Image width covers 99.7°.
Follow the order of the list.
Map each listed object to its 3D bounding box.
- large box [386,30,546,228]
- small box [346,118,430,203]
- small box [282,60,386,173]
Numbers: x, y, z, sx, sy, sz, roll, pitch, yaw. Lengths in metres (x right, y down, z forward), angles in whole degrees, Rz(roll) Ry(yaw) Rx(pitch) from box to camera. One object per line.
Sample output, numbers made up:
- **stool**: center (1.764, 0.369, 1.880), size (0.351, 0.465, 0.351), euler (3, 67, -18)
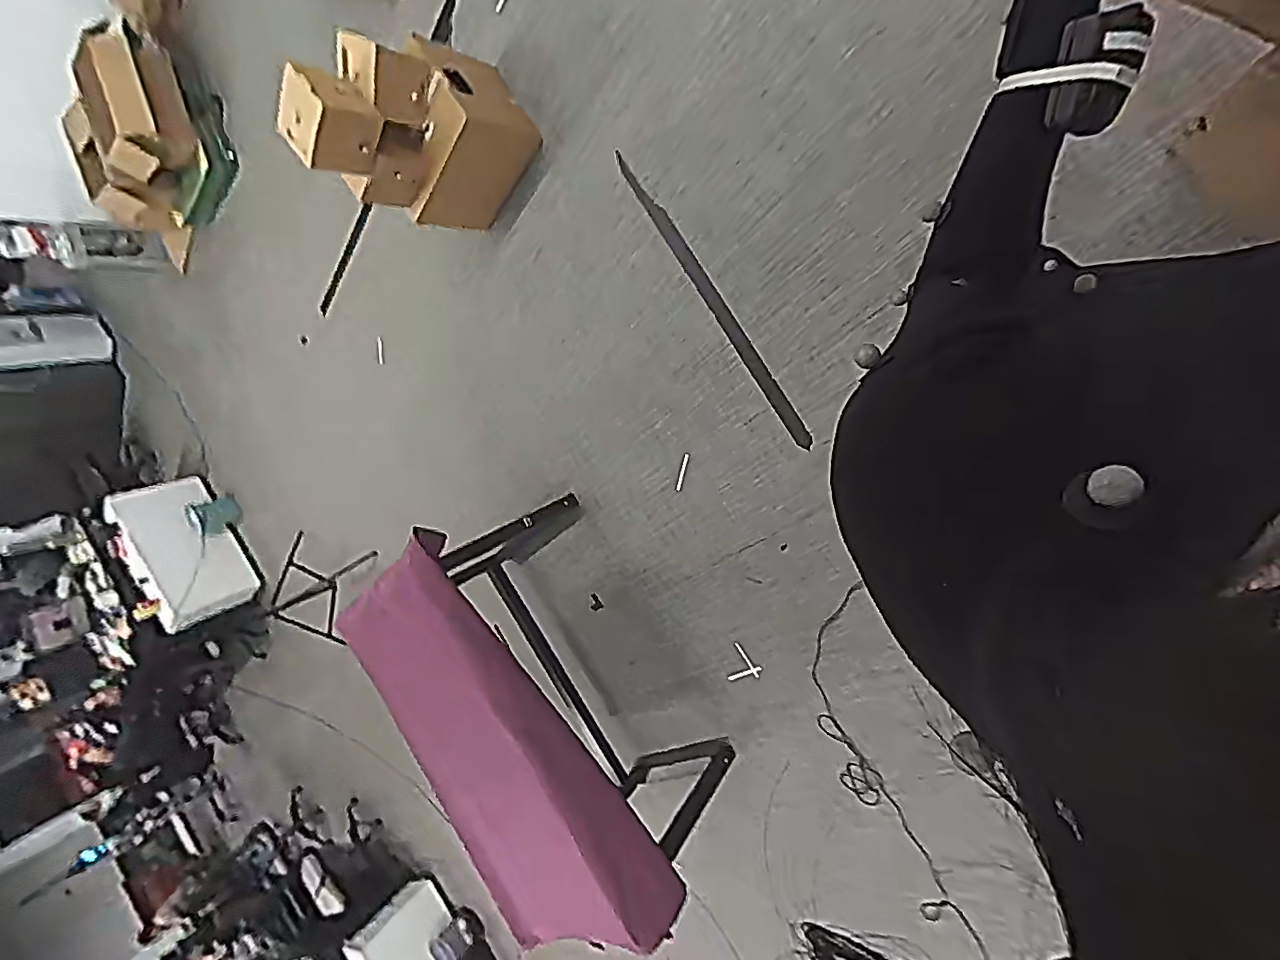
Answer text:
- **large box**: center (-0.584, -1.098, 1.753), size (0.408, 0.320, 0.320), euler (-38, 85, 38)
- **small box**: center (-0.766, -0.962, 1.623), size (0.168, 0.176, 0.179), euler (-37, 83, 36)
- **small box**: center (-0.813, -0.960, 1.446), size (0.168, 0.176, 0.179), euler (52, 129, 8)
